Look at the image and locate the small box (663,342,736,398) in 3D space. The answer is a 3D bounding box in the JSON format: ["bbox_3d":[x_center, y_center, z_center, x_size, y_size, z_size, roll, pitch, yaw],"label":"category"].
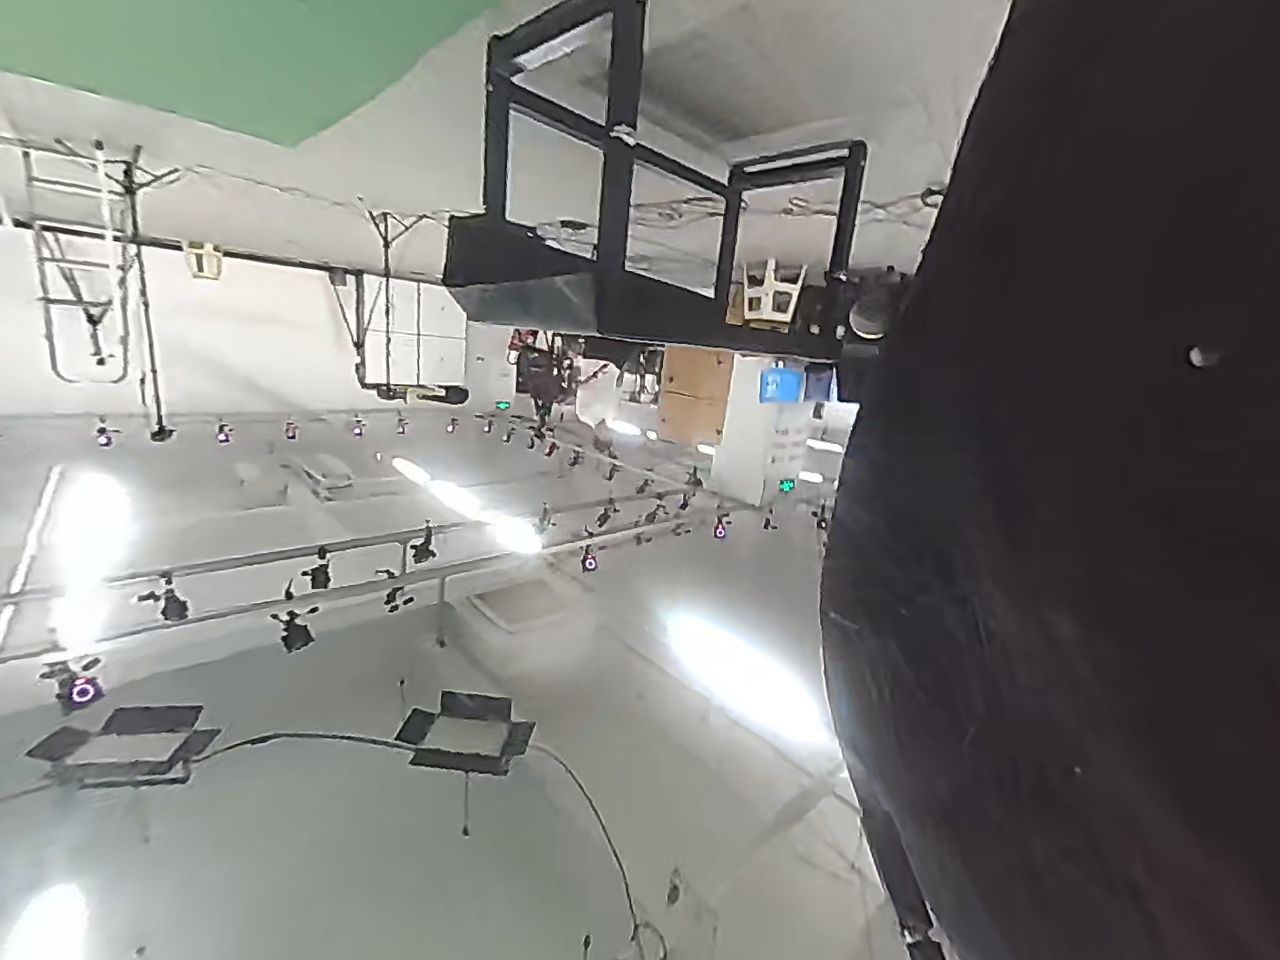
[{"bbox_3d":[0.203,-0.373,1.825,0.168,0.176,0.179,-9,-159,-43],"label":"small box"}]
